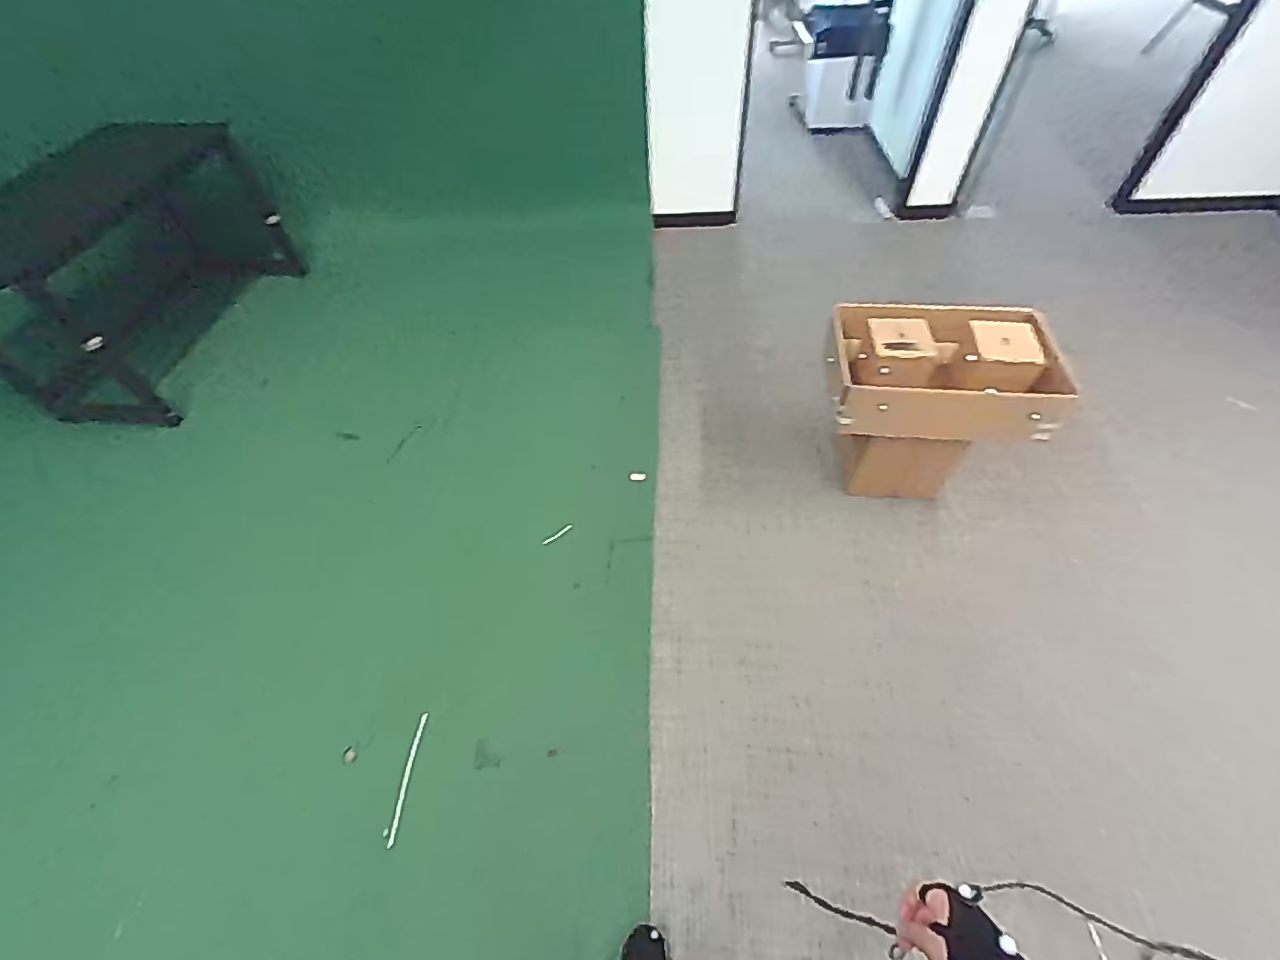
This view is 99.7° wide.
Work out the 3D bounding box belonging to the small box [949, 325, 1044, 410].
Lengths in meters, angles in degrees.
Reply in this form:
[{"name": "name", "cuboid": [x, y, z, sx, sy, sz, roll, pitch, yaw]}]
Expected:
[{"name": "small box", "cuboid": [1.050, -0.335, 1.613, 0.168, 0.176, 0.179, 5, 54, 7]}]
